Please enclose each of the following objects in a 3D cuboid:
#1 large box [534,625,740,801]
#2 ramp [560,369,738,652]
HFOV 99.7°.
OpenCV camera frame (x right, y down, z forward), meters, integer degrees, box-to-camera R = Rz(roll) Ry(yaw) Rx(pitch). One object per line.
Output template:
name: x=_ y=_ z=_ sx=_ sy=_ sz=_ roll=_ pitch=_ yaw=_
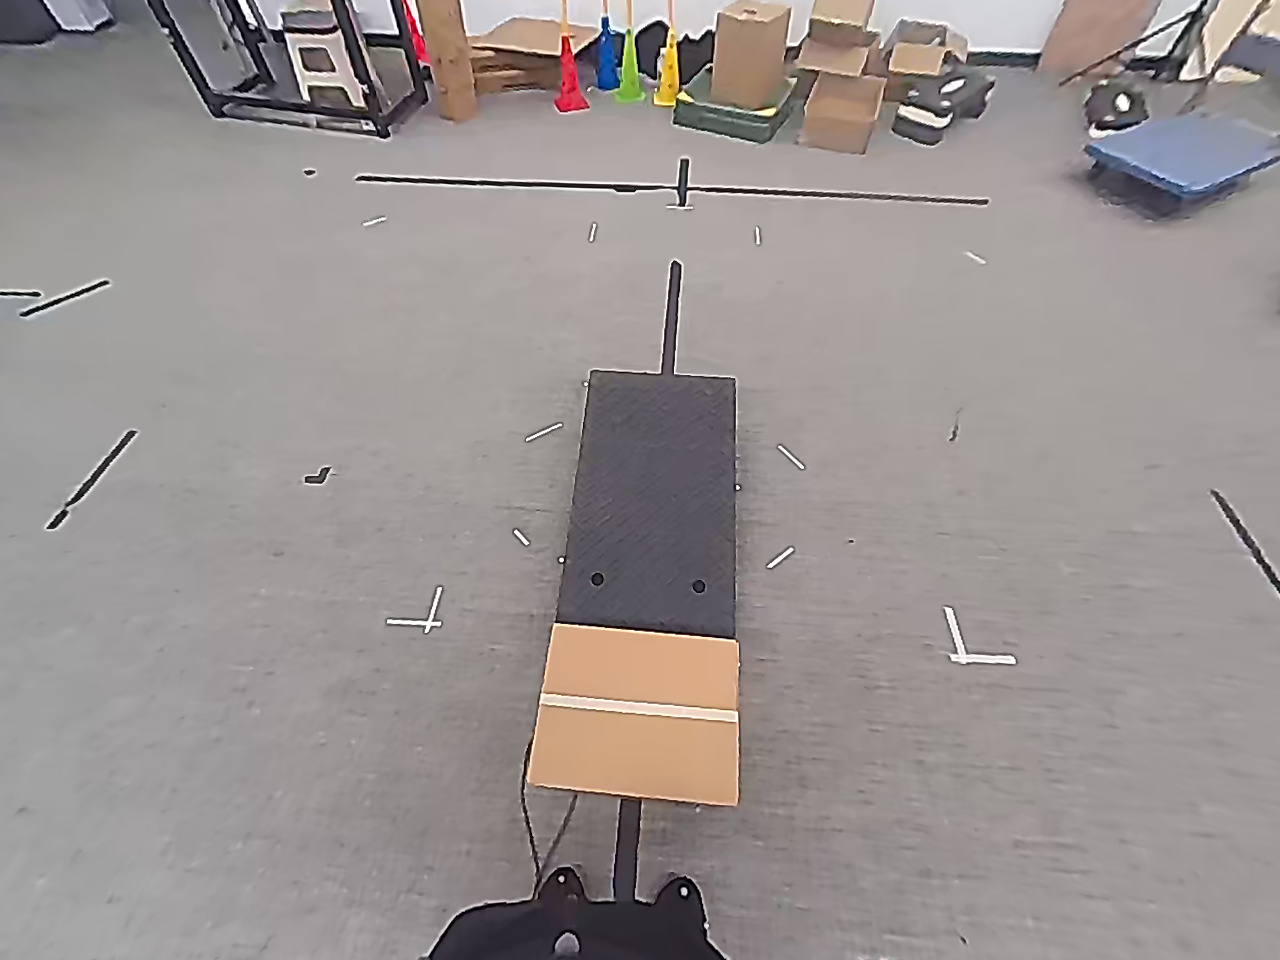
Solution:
large box: x=0.005 y=0.537 z=1.233 sx=0.408 sy=0.320 sz=0.320 roll=4 pitch=59 yaw=3
ramp: x=0.048 y=0.094 z=1.621 sx=0.509 sy=0.206 sz=0.991 roll=3 pitch=56 yaw=0
